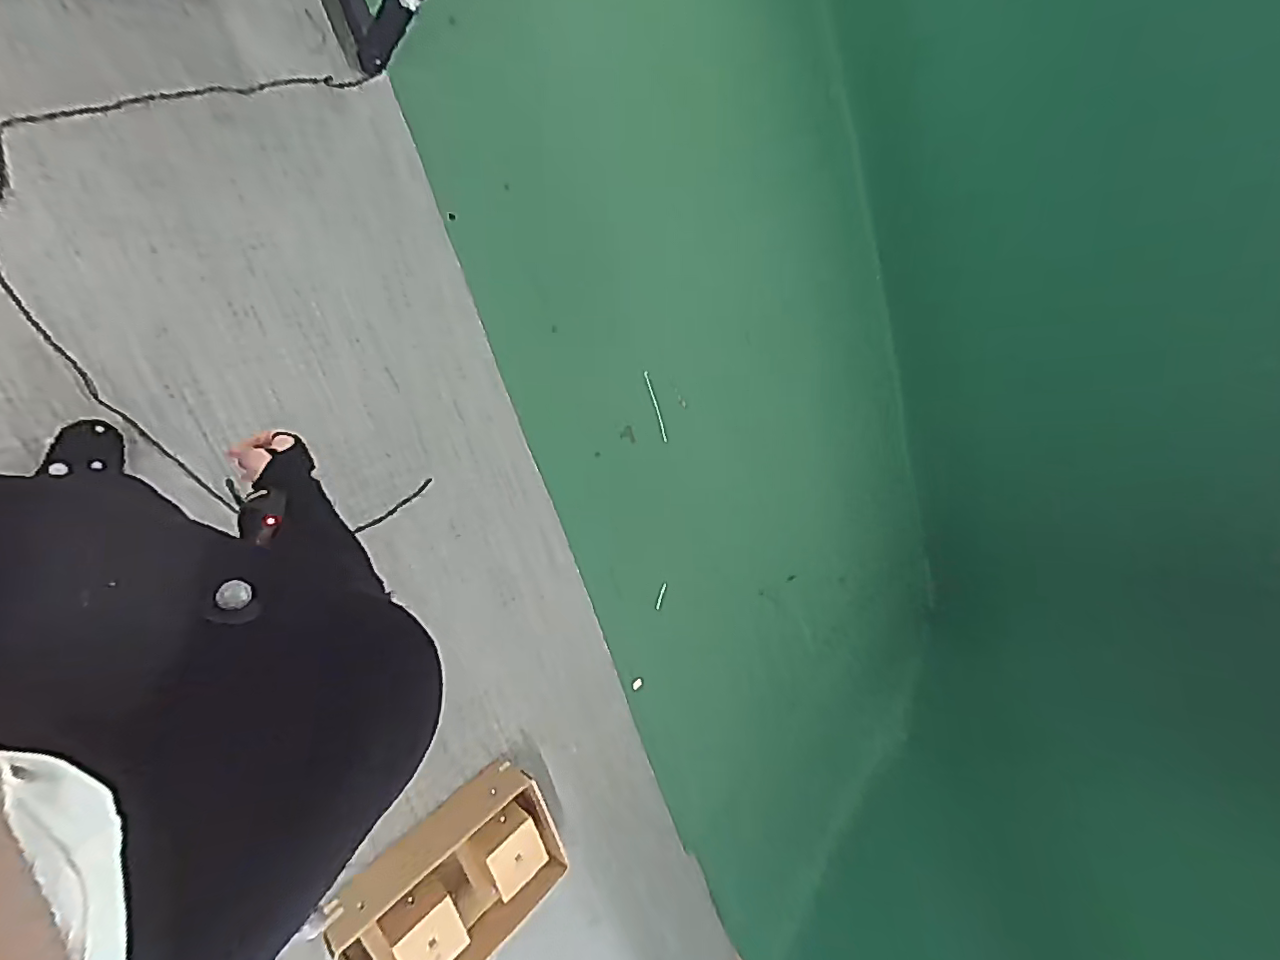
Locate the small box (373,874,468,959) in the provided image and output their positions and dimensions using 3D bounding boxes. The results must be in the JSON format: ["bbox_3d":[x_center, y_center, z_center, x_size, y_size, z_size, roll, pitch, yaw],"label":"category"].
[{"bbox_3d":[-0.616,1.250,1.508,0.168,0.176,0.179,-27,108,-40],"label":"small box"}]

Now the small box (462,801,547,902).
[{"bbox_3d":[-0.426,1.143,1.687,0.168,0.176,0.179,-29,110,-39],"label":"small box"}]
